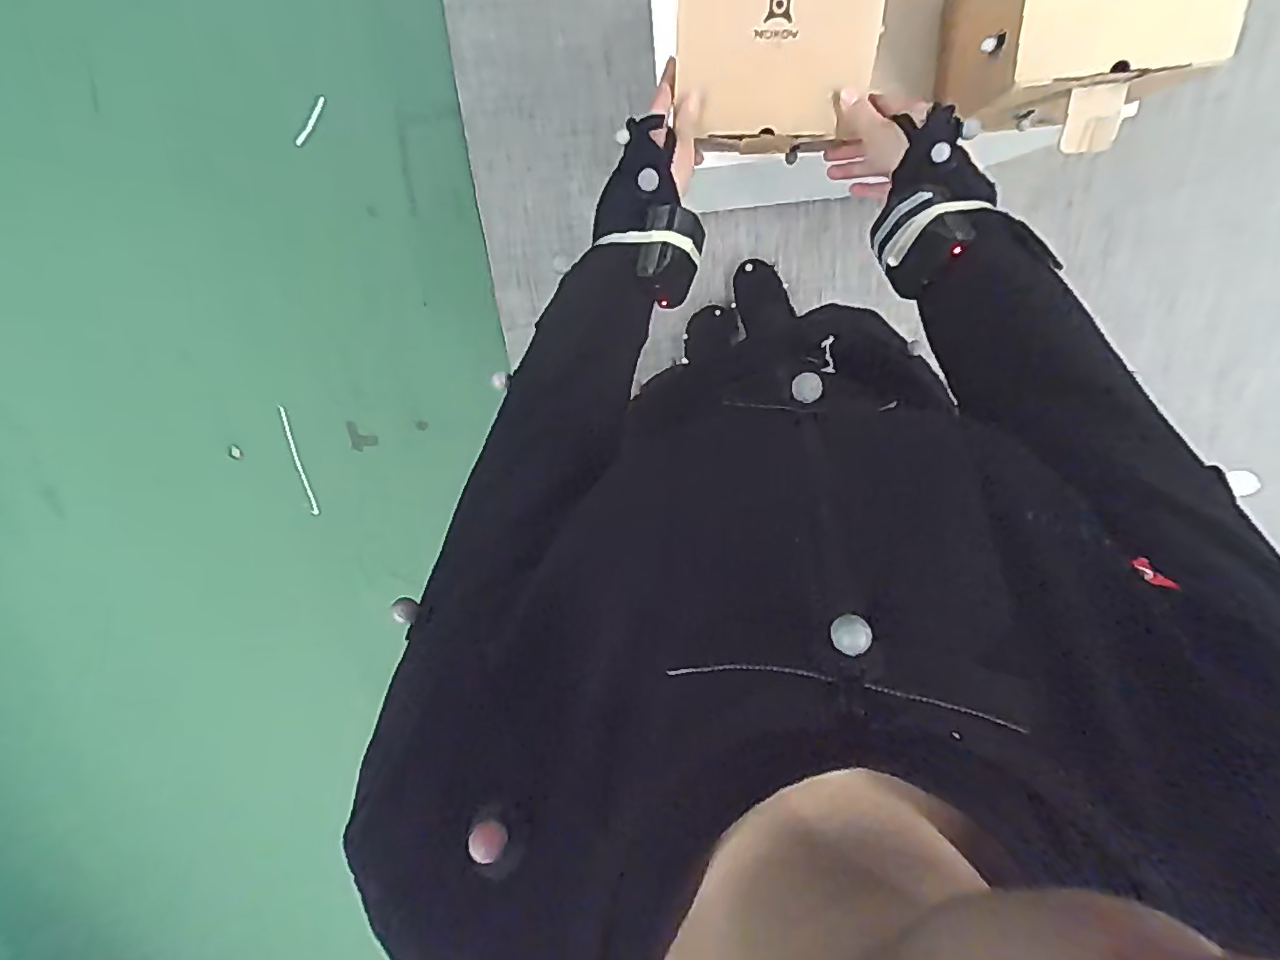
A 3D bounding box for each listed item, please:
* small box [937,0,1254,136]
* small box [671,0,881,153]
[{"bbox_3d":[0.387,-0.433,0.479,0.168,0.176,0.179,-3,110,7],"label":"small box"},{"bbox_3d":[0.116,-0.409,0.503,0.168,0.176,0.179,1,117,4],"label":"small box"}]
